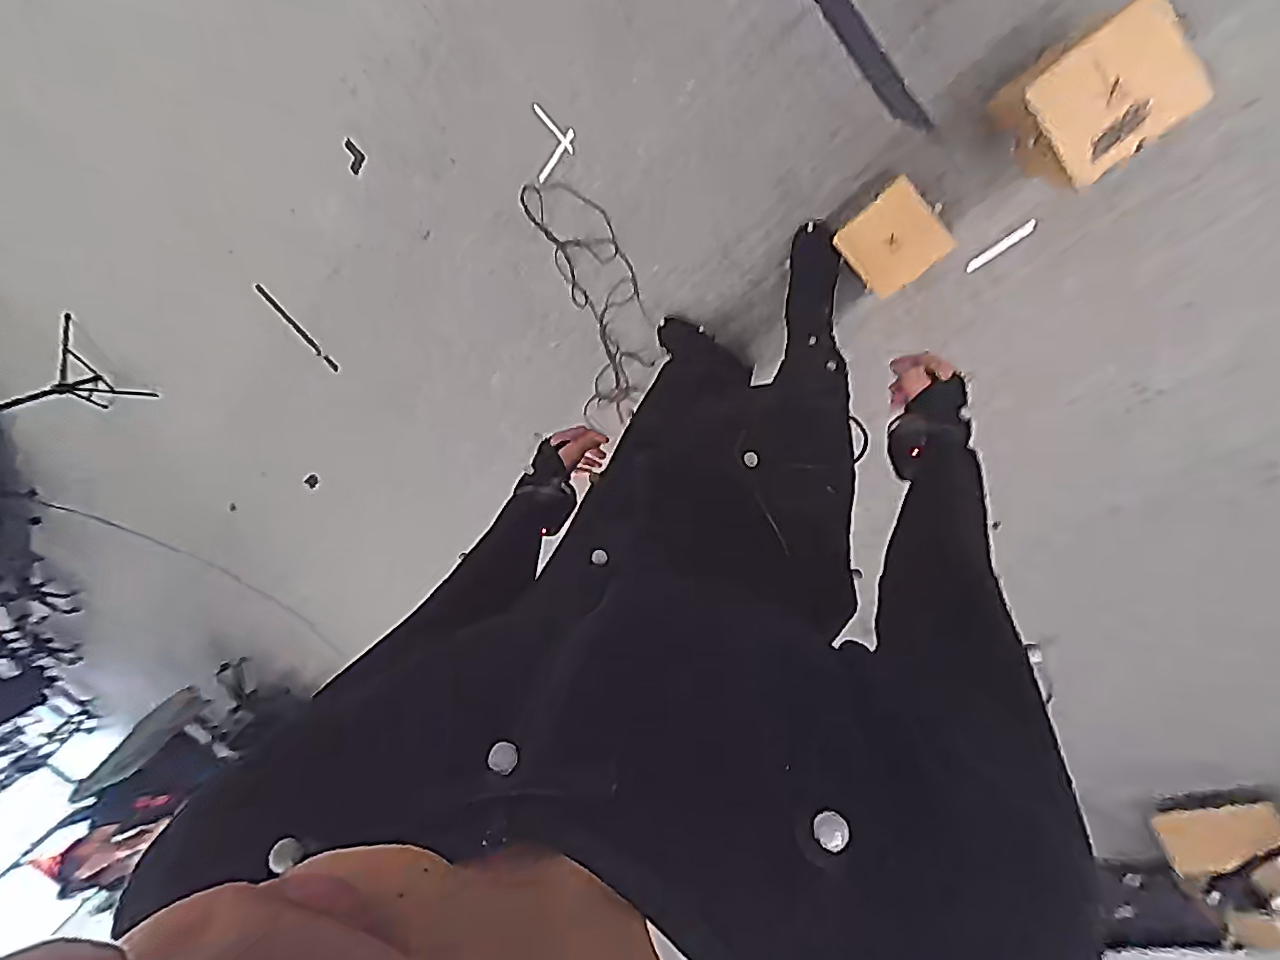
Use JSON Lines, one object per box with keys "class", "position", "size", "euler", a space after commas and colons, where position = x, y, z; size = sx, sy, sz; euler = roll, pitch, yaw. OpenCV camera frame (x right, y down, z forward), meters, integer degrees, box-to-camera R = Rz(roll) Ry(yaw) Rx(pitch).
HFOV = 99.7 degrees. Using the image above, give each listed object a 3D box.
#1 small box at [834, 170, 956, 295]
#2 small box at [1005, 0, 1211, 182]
{"class": "small box", "position": [0.540, -0.533, 1.161], "size": [0.179, 0.176, 0.168], "euler": [45, 127, -9]}
{"class": "small box", "position": [0.706, -0.600, 0.836], "size": [0.168, 0.176, 0.179], "euler": [-34, 103, 35]}
